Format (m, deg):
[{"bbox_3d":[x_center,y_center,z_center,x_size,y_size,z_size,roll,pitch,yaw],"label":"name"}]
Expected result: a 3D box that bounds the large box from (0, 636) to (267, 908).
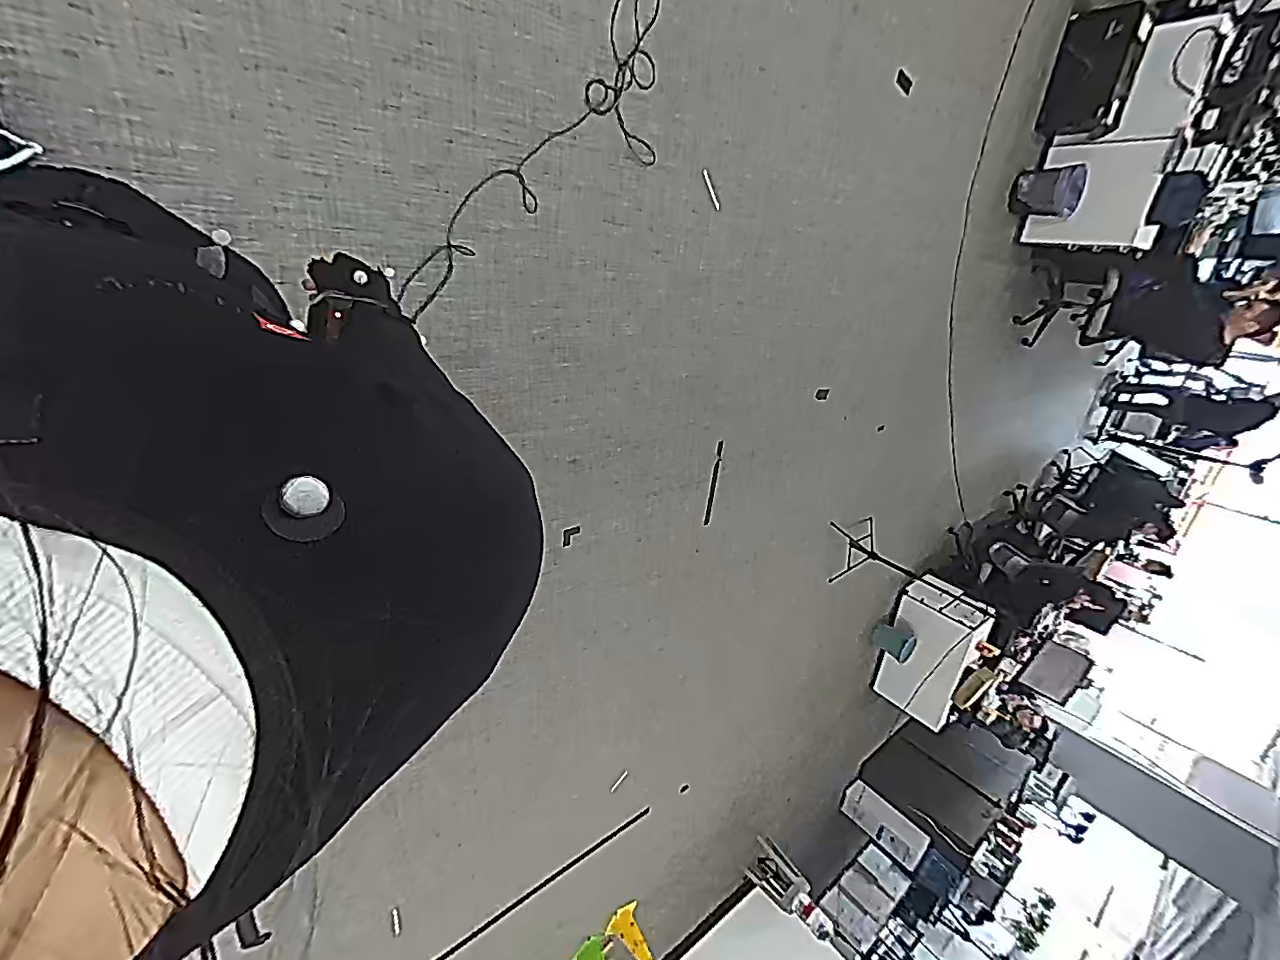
[{"bbox_3d":[-1.092,0.601,1.202,0.408,0.320,0.320,-5,112,-39],"label":"large box"}]
